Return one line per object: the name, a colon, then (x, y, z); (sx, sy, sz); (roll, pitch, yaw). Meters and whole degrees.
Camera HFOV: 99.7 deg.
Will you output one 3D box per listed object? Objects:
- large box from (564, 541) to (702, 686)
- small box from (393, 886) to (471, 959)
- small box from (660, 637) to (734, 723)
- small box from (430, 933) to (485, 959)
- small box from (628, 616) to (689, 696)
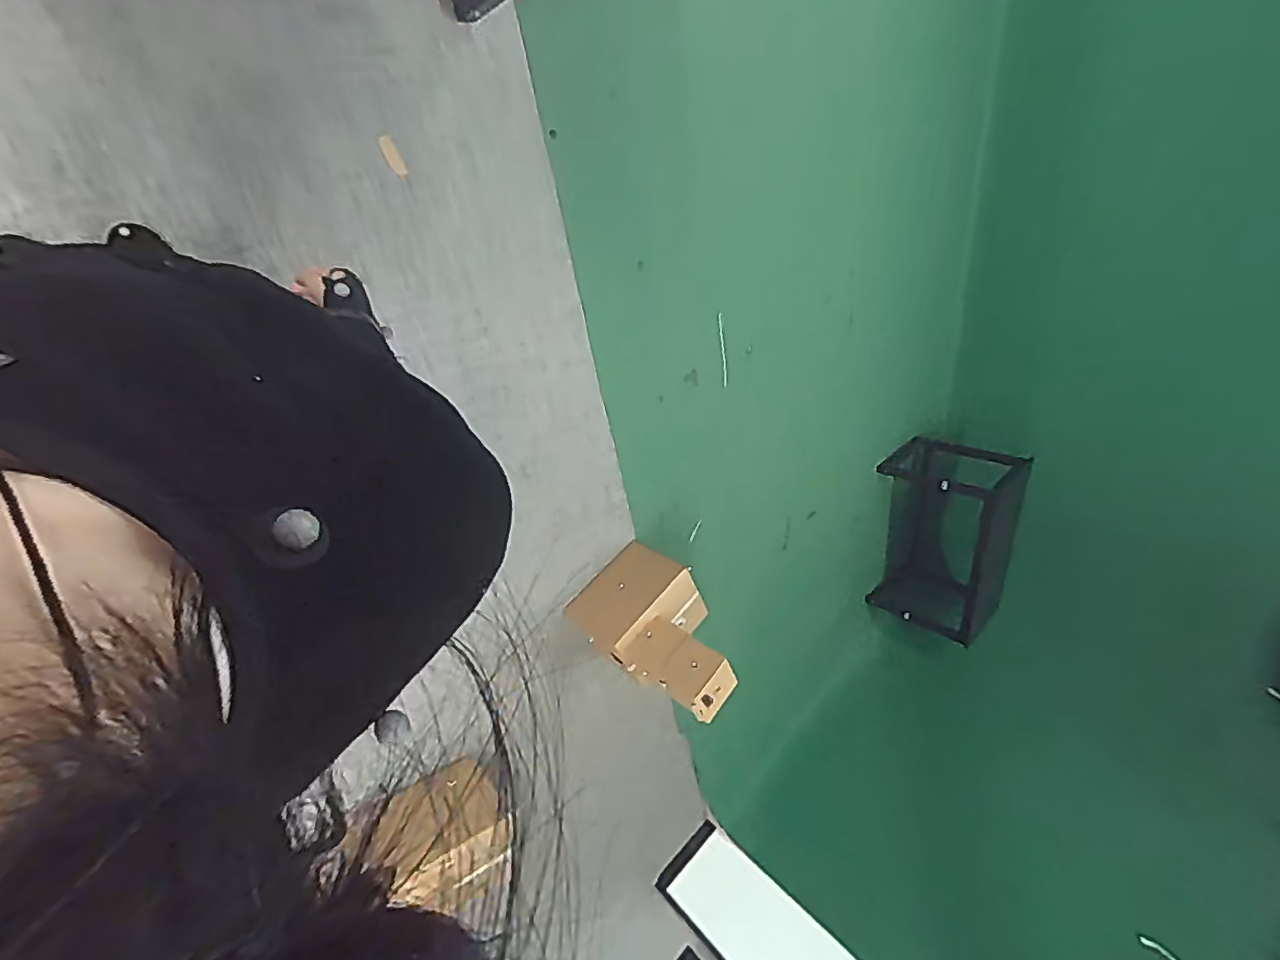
large box: (-0.023, 0.521, 2.157); (0.408, 0.320, 0.320); (-45, 132, -23)
small box: (-0.606, 1.349, 1.576); (0.168, 0.176, 0.179); (-11, 115, -41)
small box: (0.186, 0.670, 1.827); (0.179, 0.176, 0.168); (-45, 131, -24)
small box: (-0.505, 1.398, 1.458); (0.179, 0.176, 0.168); (-10, 114, -42)
small box: (0.077, 0.627, 1.942); (0.179, 0.176, 0.168); (-40, 129, -25)
